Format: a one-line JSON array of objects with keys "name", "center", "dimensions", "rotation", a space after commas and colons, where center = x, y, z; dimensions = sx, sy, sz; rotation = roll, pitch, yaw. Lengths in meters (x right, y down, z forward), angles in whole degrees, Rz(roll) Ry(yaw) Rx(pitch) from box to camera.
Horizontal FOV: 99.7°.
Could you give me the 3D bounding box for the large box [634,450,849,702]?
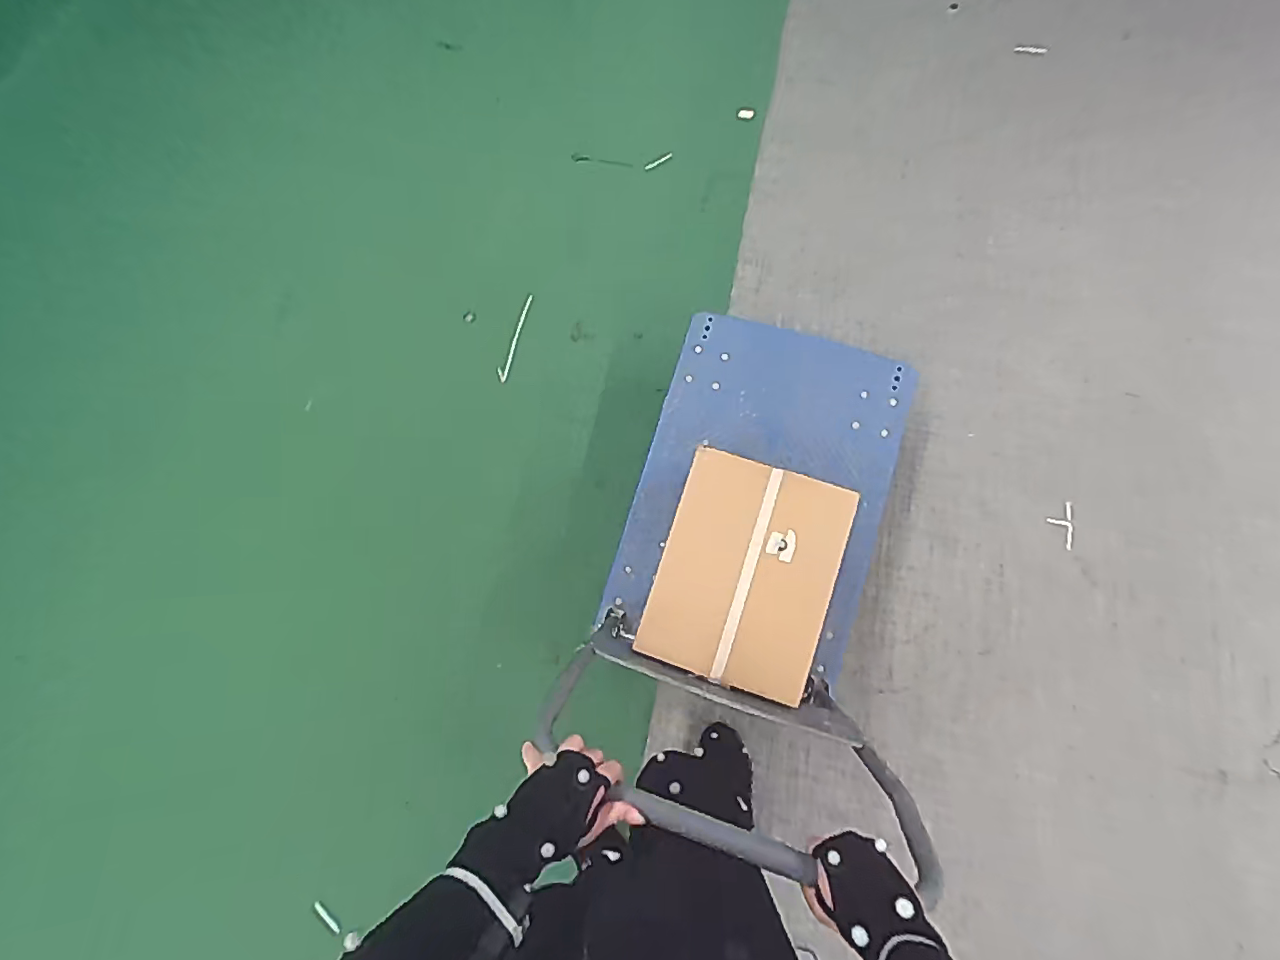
[{"name": "large box", "center": [0.205, 0.197, 1.160], "dimensions": [0.320, 0.320, 0.408], "rotation": [19, 82, 7]}]
